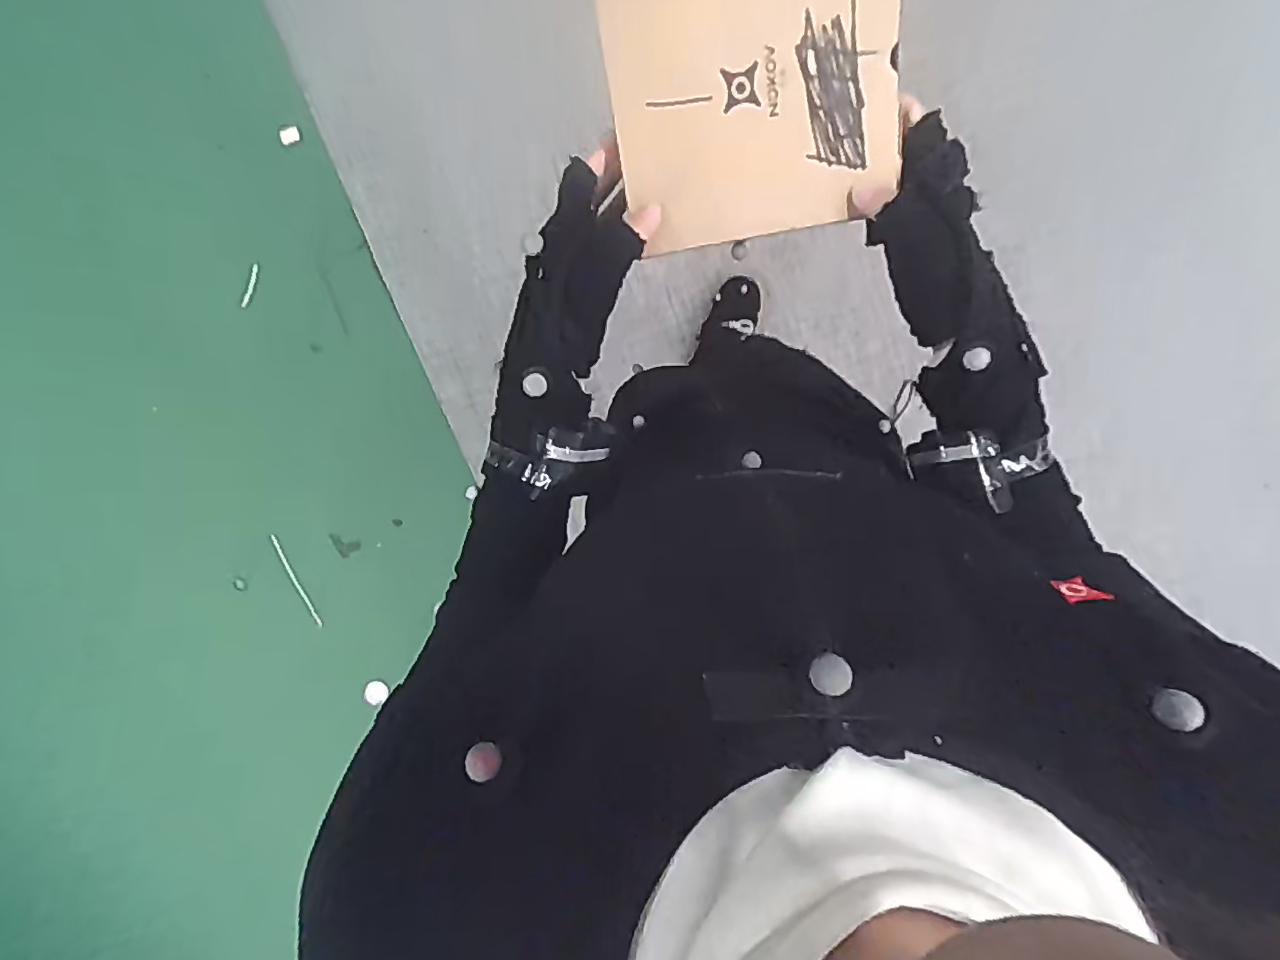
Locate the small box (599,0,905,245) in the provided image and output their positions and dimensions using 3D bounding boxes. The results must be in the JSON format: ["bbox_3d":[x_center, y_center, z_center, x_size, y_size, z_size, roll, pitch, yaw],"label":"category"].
[{"bbox_3d":[0.071,-0.276,0.396,0.179,0.176,0.168,-8,113,5],"label":"small box"}]
